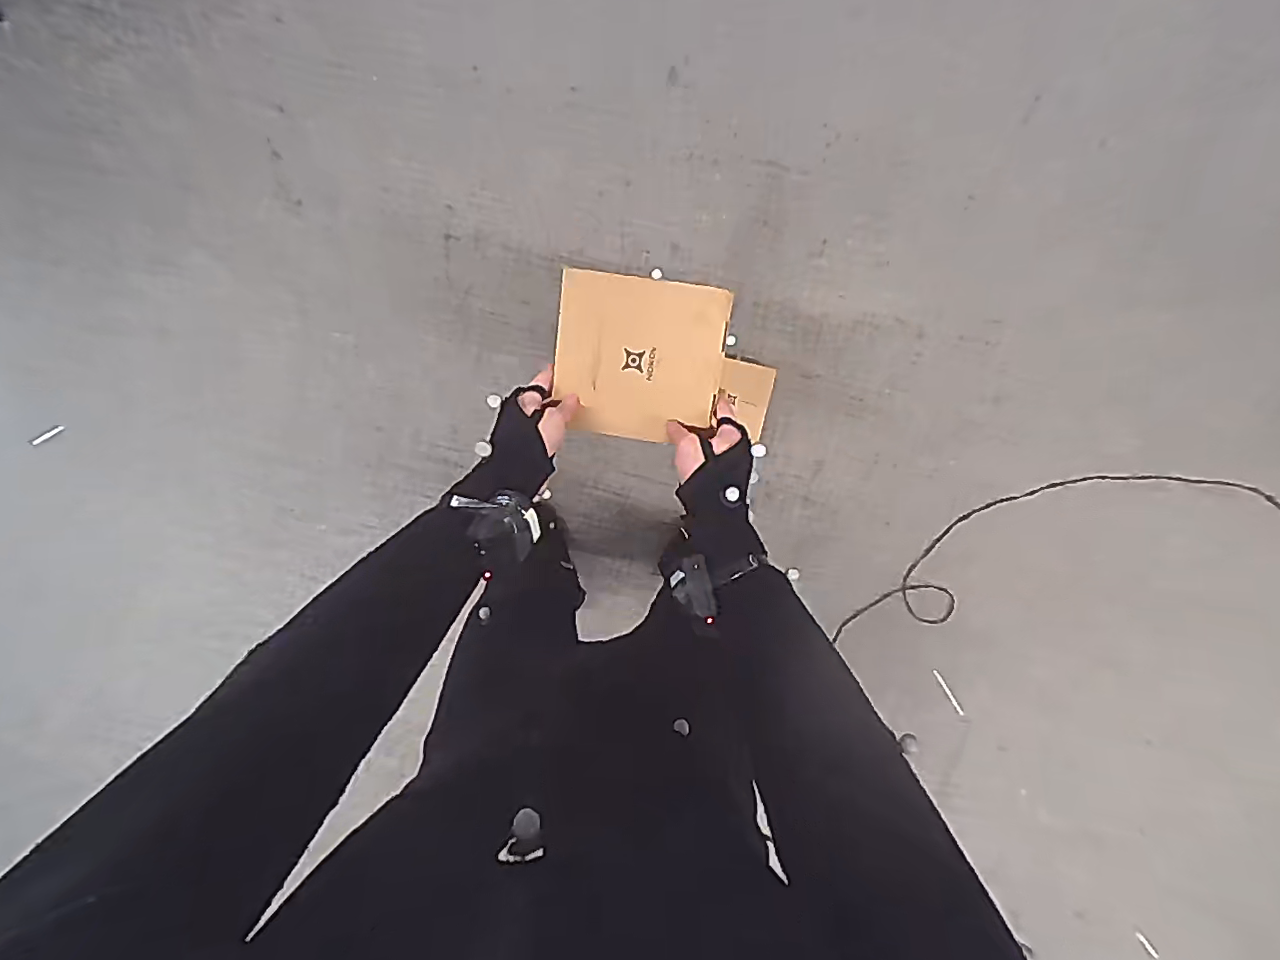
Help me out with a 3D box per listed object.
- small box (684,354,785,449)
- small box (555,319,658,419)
[{"bbox_3d":[0.209,-0.177,1.234,0.179,0.176,0.168,17,99,3],"label":"small box"},{"bbox_3d":[-0.070,-0.245,1.246,0.179,0.176,0.168,-21,92,8],"label":"small box"}]
